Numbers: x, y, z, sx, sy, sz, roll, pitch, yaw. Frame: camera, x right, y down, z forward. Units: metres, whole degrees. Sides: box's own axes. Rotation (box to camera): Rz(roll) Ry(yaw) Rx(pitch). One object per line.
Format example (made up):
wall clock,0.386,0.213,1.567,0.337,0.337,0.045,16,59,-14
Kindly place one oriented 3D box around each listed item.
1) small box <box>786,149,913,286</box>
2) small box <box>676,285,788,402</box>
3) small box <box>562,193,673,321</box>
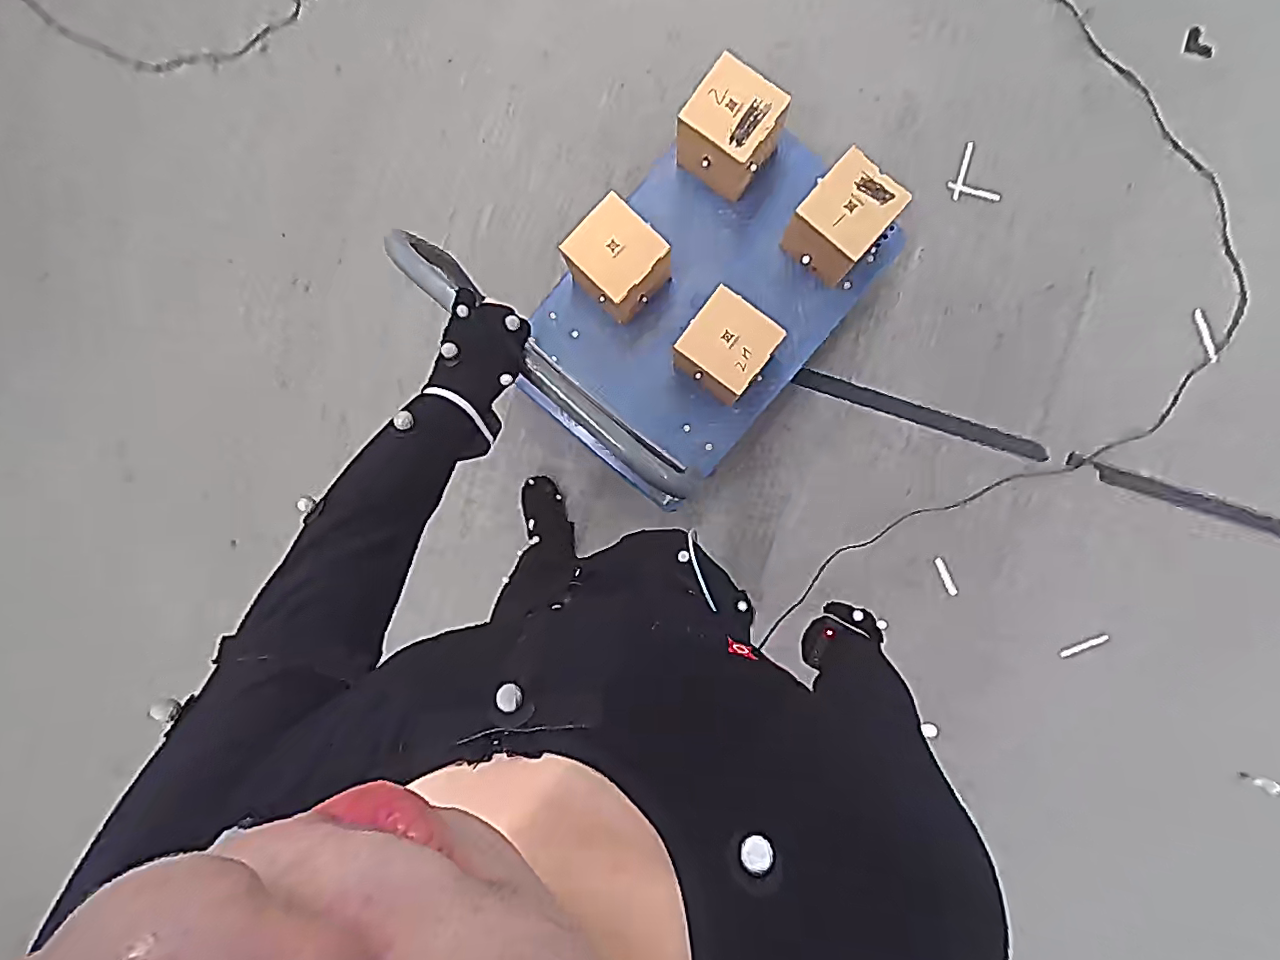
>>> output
small box,0.444,-0.562,1.182,0.168,0.176,0.179,42,94,2
small box,0.193,-0.290,1.198,0.179,0.176,0.168,38,92,2
small box,-0.046,-0.487,1.210,0.179,0.176,0.168,44,92,0
